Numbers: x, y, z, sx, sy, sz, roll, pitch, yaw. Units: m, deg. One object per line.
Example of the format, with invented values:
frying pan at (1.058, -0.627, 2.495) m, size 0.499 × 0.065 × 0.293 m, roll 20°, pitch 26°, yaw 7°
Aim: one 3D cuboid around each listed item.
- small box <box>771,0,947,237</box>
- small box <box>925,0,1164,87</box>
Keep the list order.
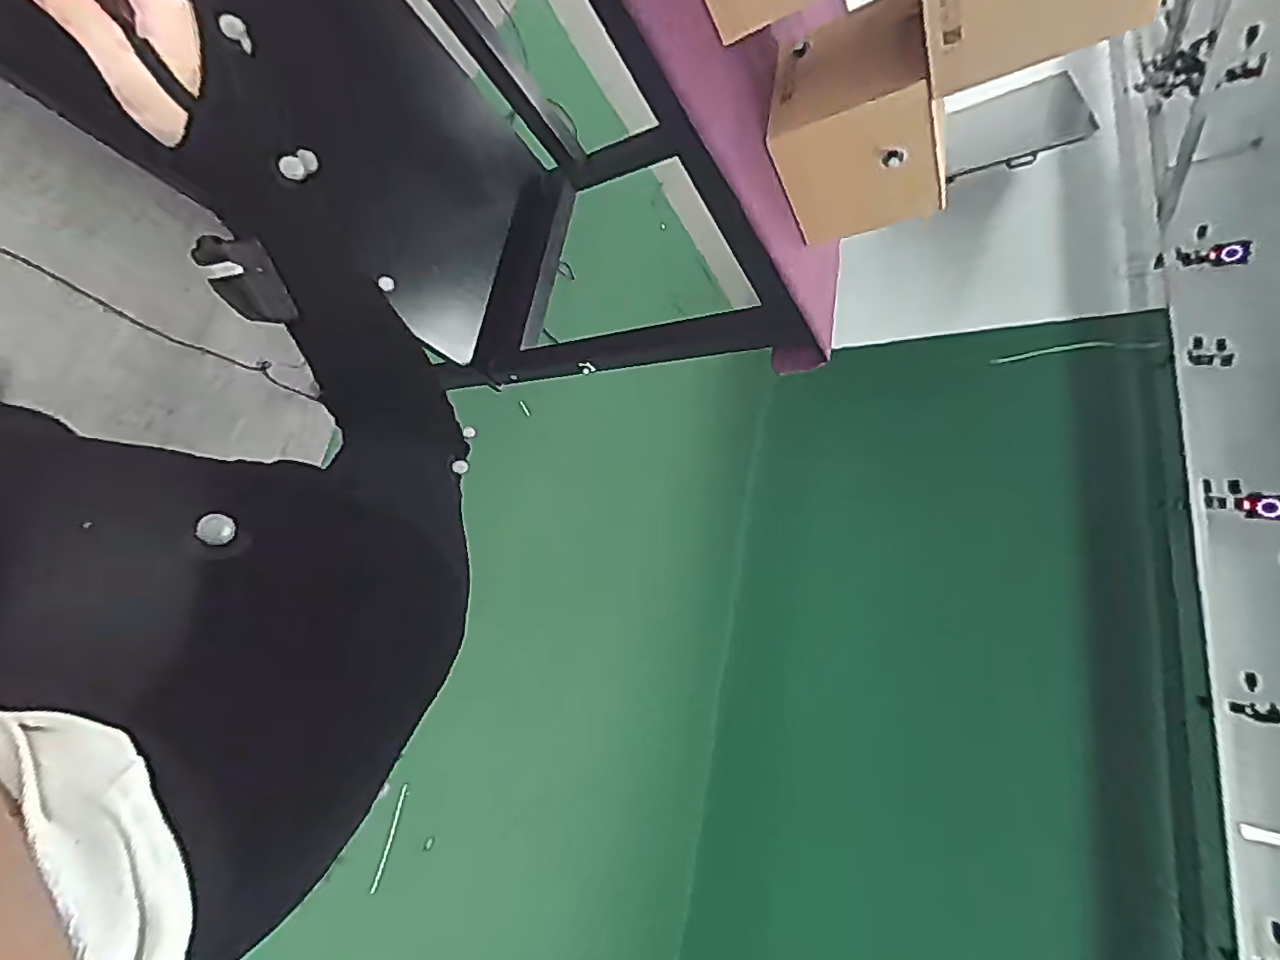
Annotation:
small box at (0.268, -0.430, 0.655) m, size 0.179 × 0.176 × 0.168 m, roll 34°, pitch 61°, yaw -51°
small box at (0.332, -0.486, 0.453) m, size 0.168 × 0.176 × 0.179 m, roll 32°, pitch 62°, yaw -53°
